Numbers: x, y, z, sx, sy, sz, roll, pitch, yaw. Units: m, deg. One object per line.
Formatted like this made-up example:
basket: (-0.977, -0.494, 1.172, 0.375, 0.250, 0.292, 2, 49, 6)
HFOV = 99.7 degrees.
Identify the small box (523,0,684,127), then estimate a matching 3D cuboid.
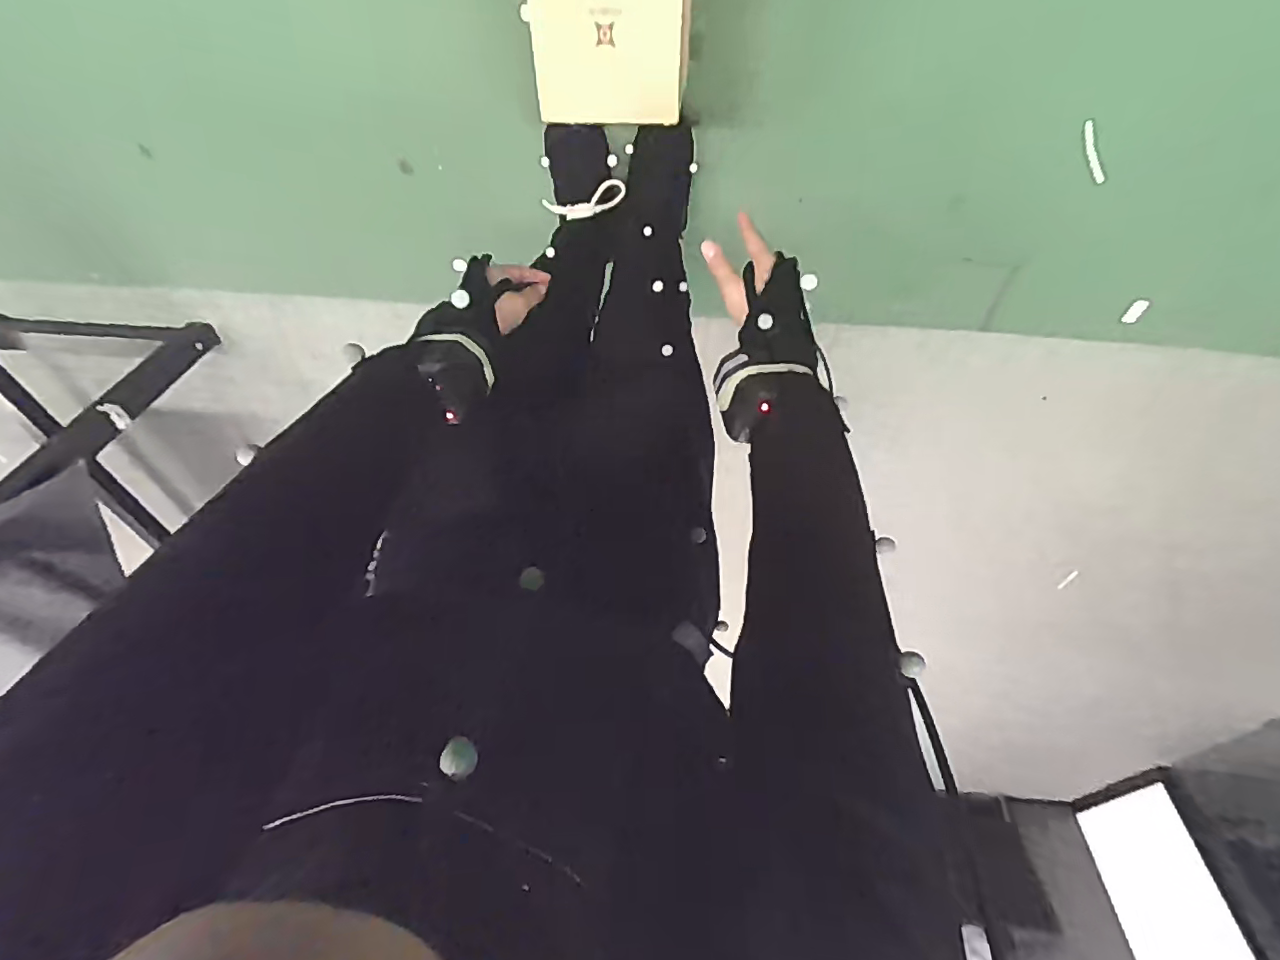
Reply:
small box: (-0.034, -0.541, 0.635, 0.168, 0.176, 0.179, 3, 136, 3)
